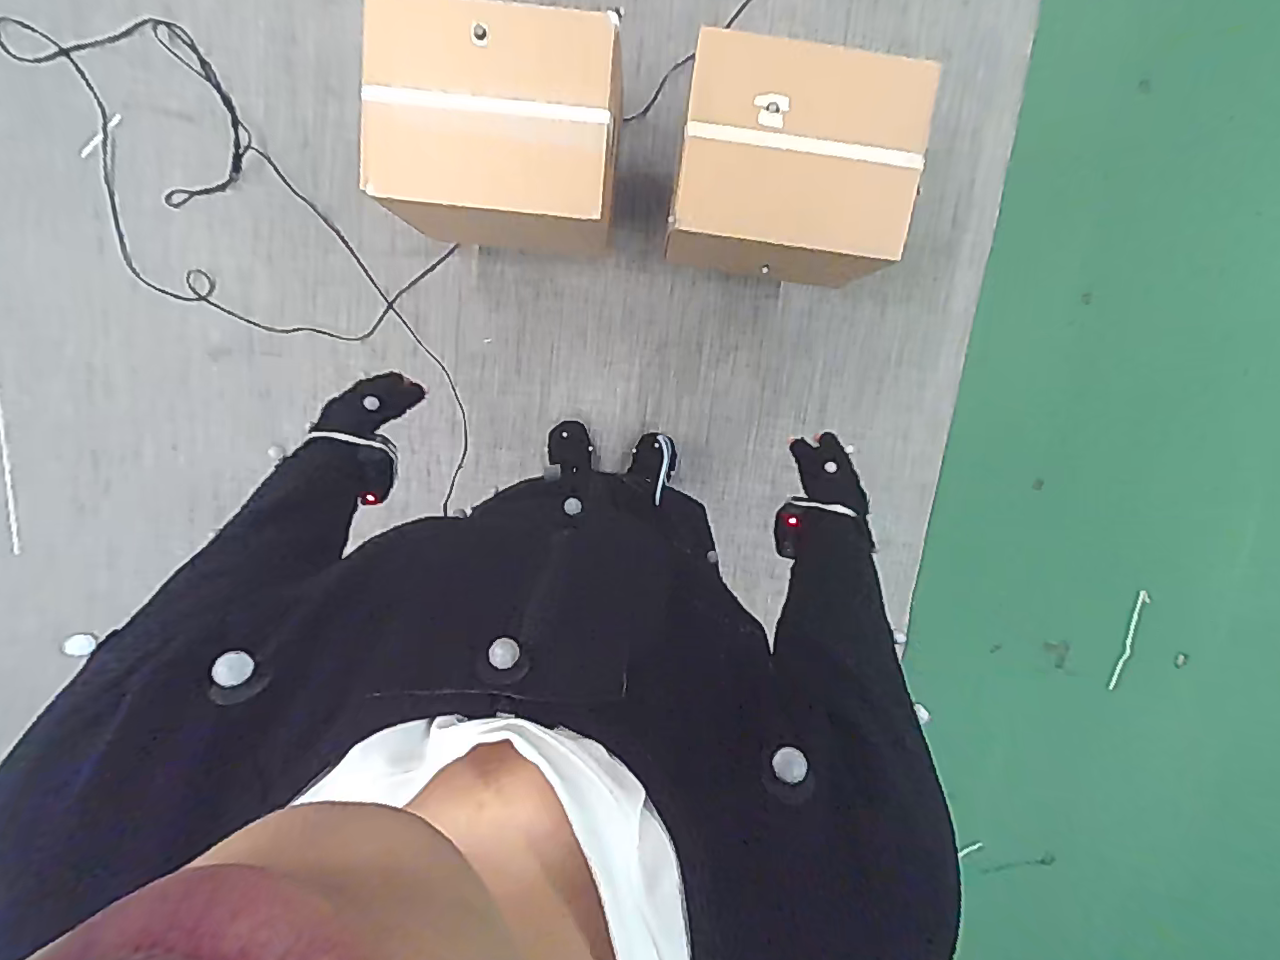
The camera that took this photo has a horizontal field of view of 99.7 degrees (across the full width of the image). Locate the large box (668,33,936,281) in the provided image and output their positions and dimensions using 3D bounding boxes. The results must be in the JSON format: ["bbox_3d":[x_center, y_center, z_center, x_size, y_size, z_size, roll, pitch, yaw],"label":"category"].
[{"bbox_3d":[0.280,-0.594,1.066,0.408,0.320,0.320,8,101,-1],"label":"large box"}]
